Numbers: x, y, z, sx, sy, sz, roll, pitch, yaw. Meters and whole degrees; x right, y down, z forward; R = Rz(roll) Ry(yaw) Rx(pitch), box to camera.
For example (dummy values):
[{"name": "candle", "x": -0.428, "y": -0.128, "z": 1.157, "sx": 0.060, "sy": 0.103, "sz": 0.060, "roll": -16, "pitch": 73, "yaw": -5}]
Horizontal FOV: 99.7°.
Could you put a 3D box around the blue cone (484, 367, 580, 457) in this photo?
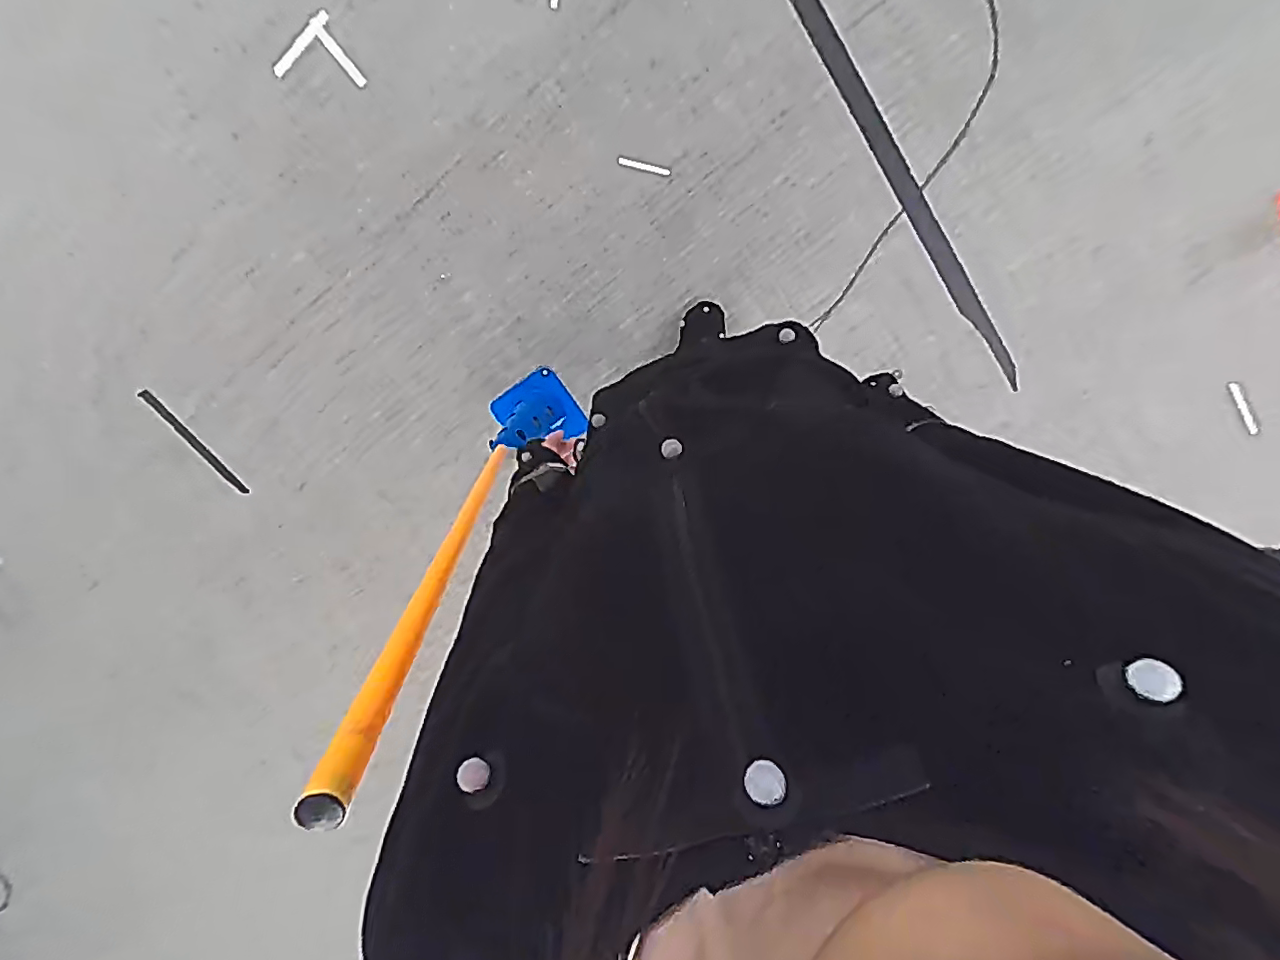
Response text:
[{"name": "blue cone", "x": -0.279, "y": -0.123, "z": 1.249, "sx": 0.193, "sy": 0.380, "sz": 0.192, "roll": -31, "pitch": 103, "yaw": 12}]
